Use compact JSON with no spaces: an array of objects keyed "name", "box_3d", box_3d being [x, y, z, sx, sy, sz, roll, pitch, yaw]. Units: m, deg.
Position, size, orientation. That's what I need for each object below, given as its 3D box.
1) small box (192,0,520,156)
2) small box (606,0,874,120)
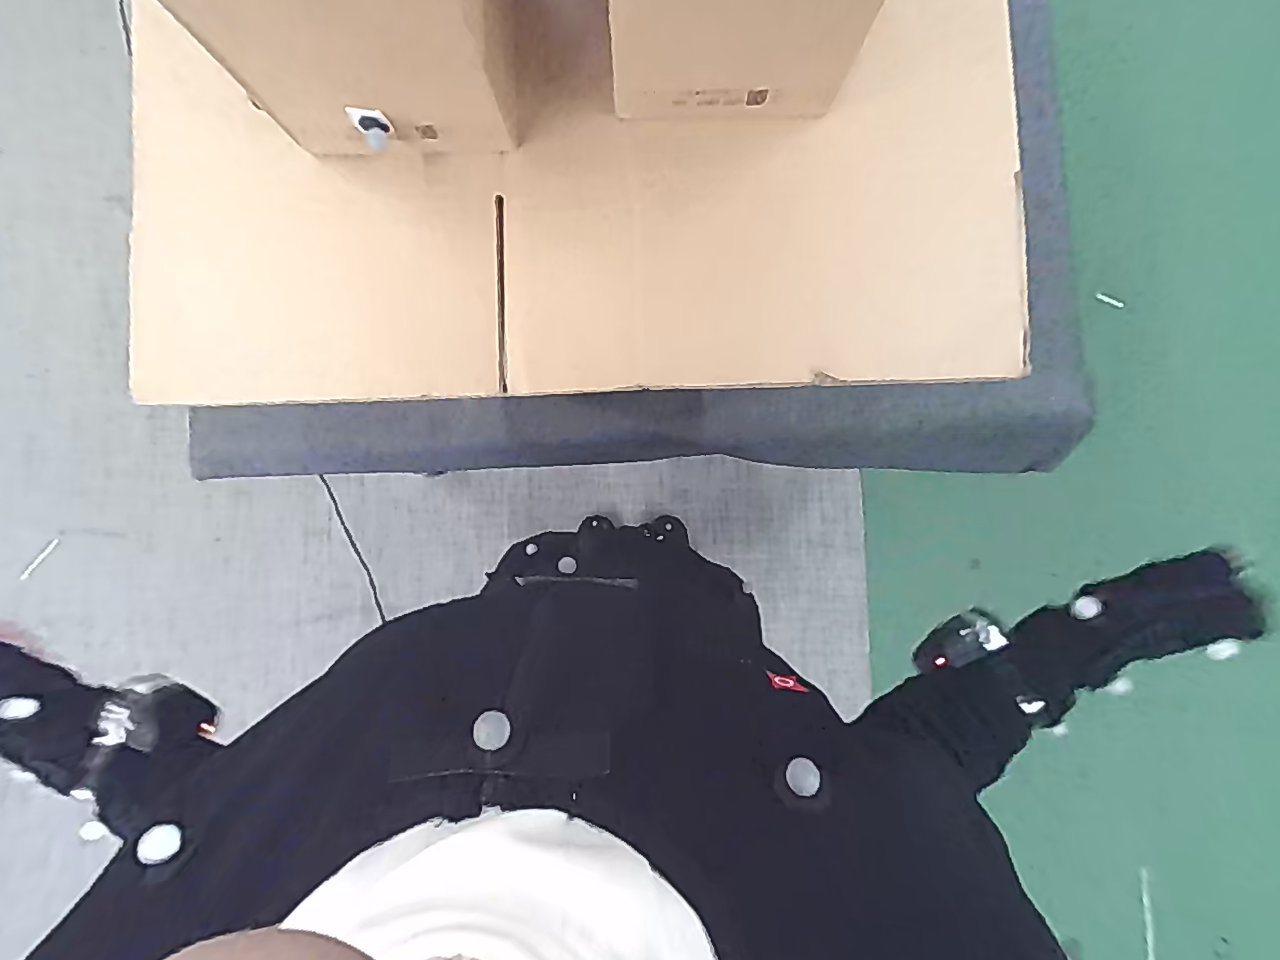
[{"name":"small box","box_3d":[-0.179,-0.349,0.351,0.168,0.176,0.179,-2,89,2]},{"name":"small box","box_3d":[0.061,-0.372,0.342,0.168,0.176,0.179,-1,86,0]}]
